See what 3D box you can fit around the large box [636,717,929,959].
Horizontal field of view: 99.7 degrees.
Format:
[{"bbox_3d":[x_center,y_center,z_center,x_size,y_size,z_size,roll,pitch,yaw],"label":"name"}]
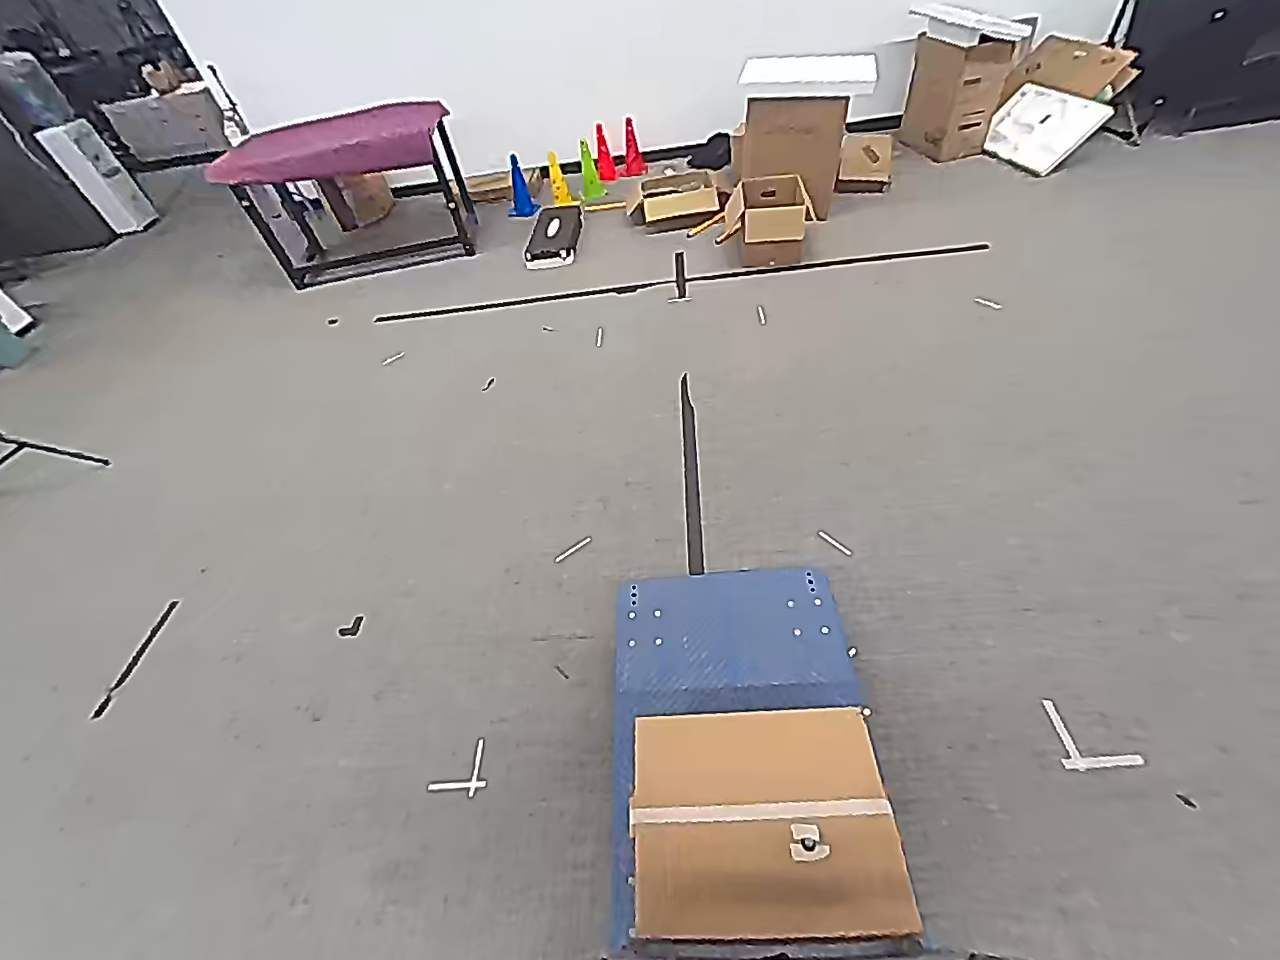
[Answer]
[{"bbox_3d":[0.208,0.641,0.950,0.408,0.320,0.320,-5,48,4],"label":"large box"}]
